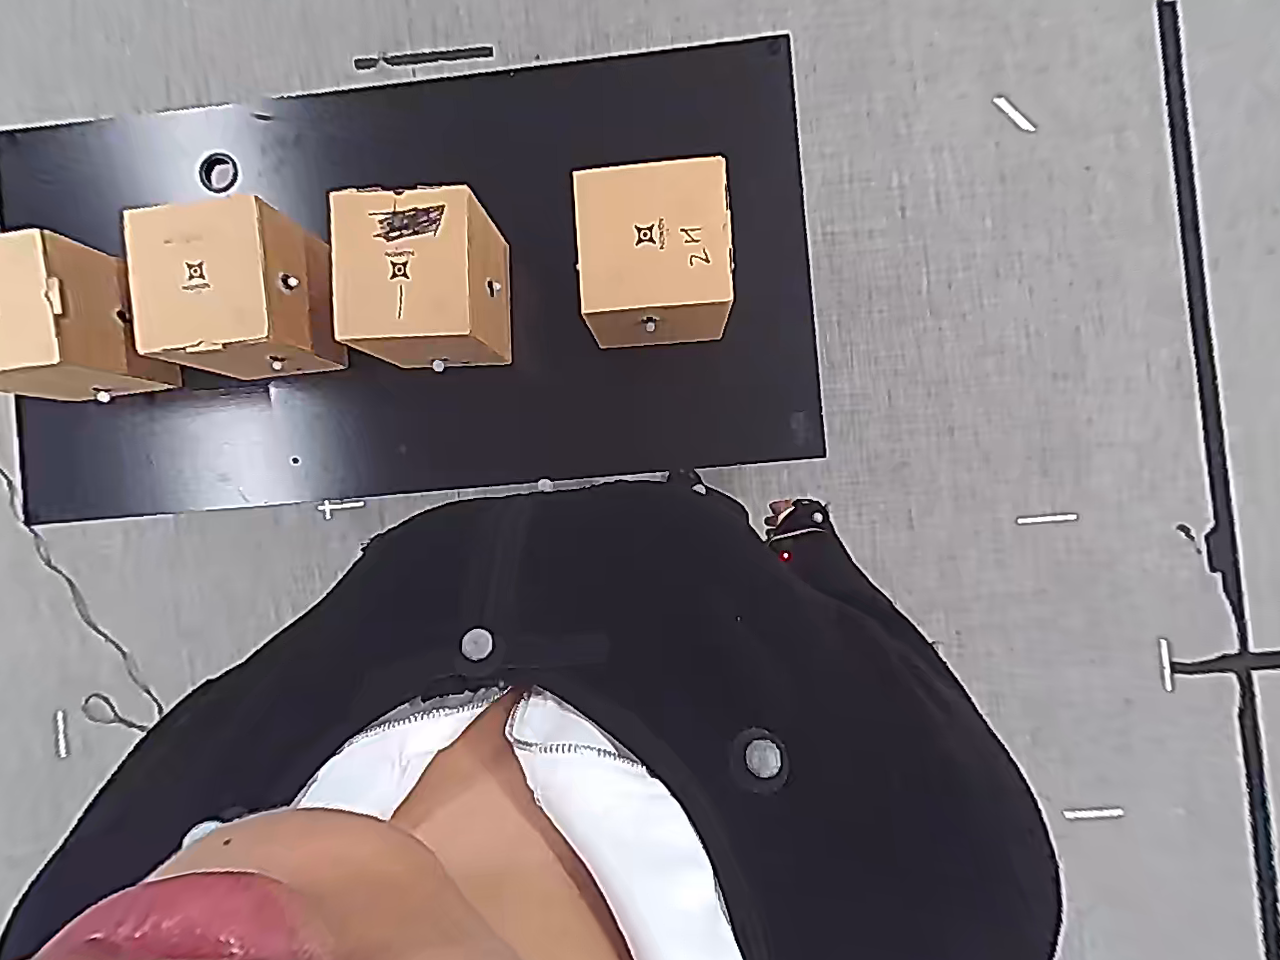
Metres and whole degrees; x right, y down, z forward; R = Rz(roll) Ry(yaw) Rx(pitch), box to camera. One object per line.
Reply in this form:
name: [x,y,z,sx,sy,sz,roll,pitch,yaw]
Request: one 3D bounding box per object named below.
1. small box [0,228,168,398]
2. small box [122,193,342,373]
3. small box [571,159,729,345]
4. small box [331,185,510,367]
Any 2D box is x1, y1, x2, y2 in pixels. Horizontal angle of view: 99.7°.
small box: [-0.784,-0.212,0.726,0.179,0.176,0.168,-7,89,1]
small box: [-0.523,-0.245,0.719,0.168,0.176,0.179,-6,89,1]
small box: [0.016,-0.277,0.695,0.179,0.176,0.168,-3,90,3]
small box: [-0.274,-0.254,0.707,0.168,0.176,0.179,-1,90,3]
